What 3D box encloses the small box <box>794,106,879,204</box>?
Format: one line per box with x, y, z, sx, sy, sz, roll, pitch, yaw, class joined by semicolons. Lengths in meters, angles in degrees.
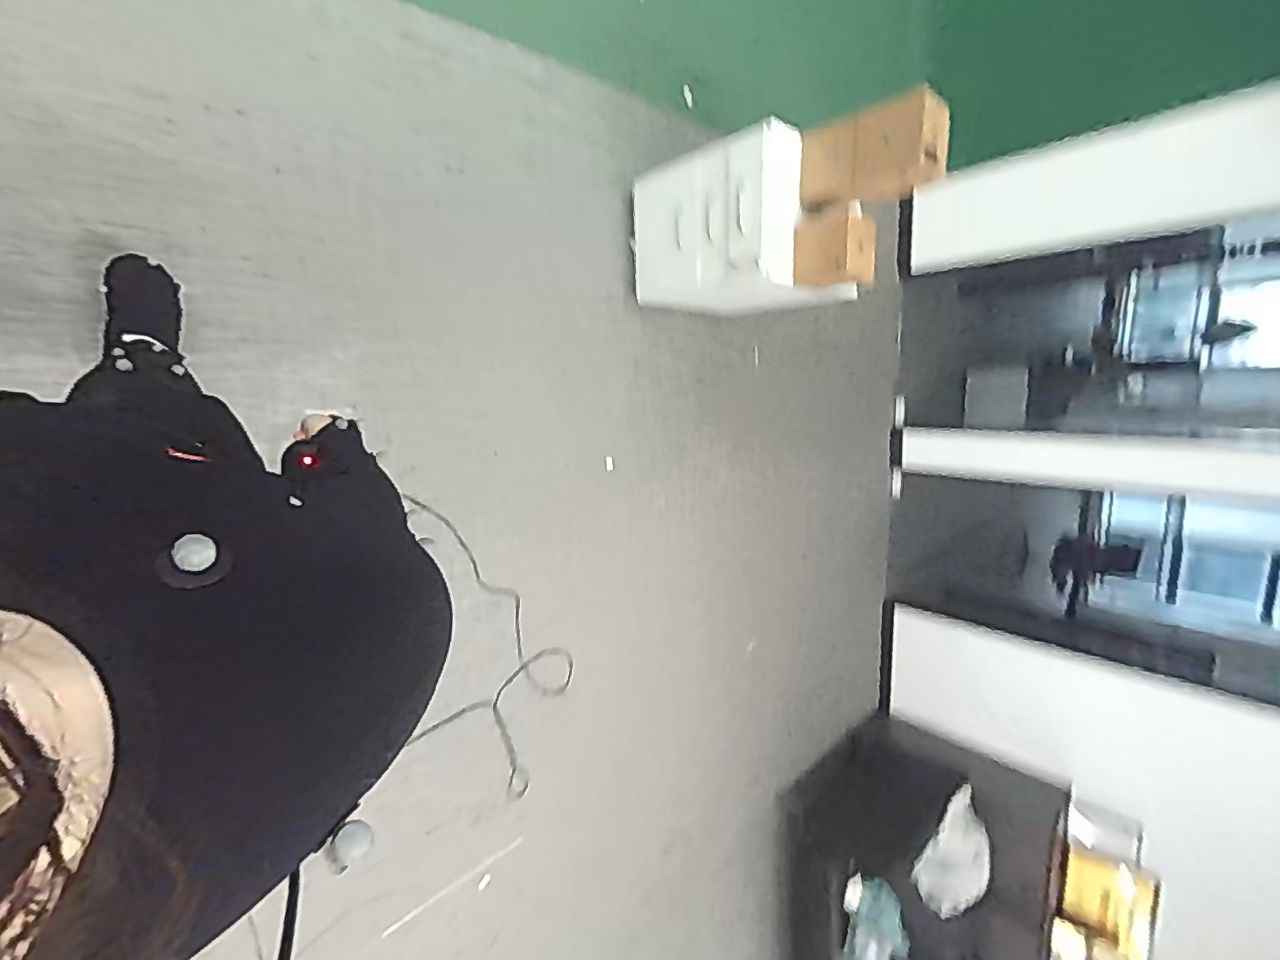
0.548;-0.901;1.516;0.168;0.176;0.179;-11;105;-41;small box
